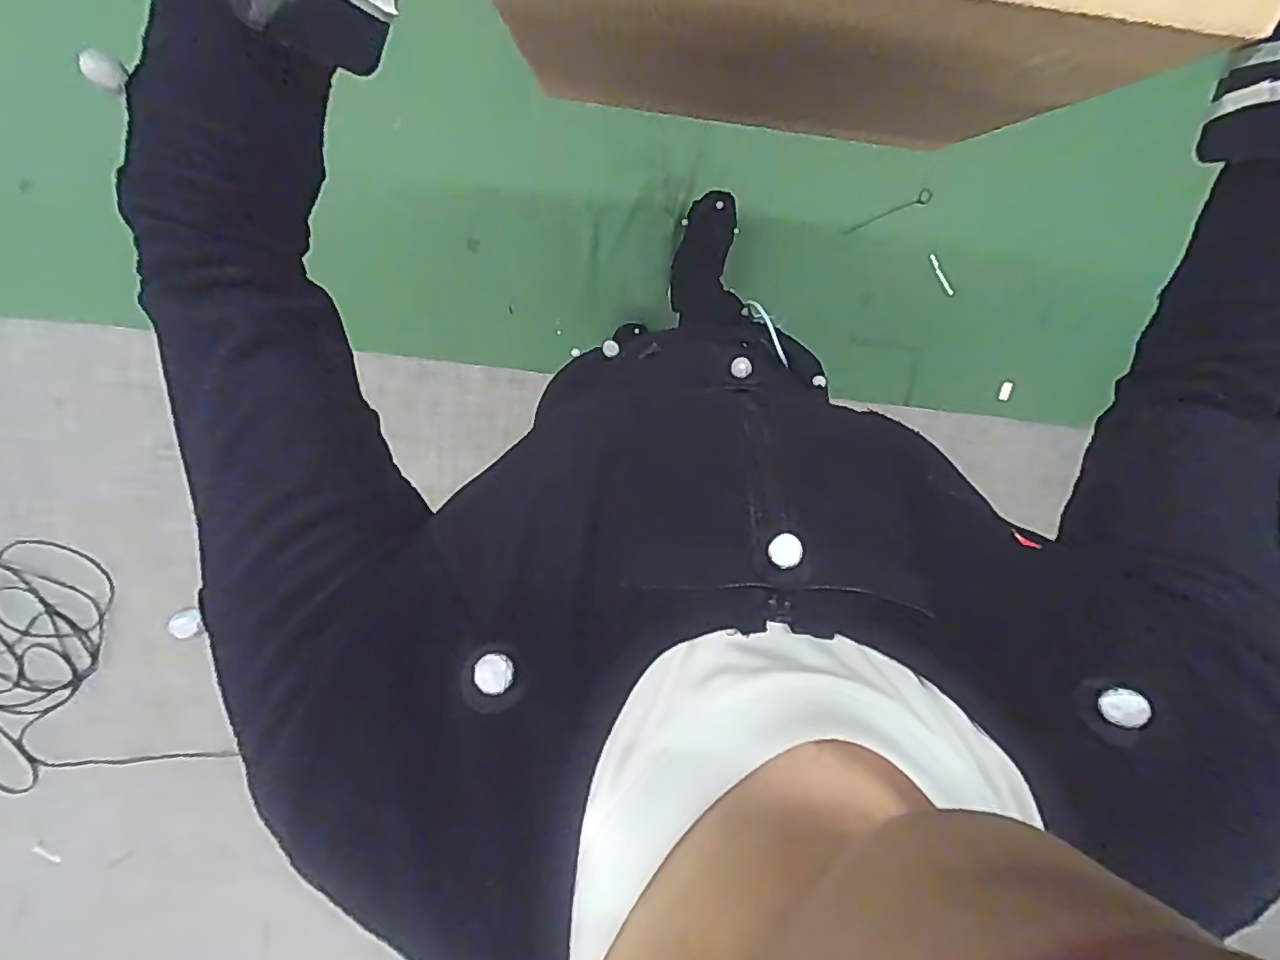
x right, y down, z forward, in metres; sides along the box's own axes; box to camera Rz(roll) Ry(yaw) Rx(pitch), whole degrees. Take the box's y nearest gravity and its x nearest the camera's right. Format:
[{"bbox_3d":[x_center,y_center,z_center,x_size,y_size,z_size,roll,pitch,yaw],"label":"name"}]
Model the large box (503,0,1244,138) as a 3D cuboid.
[{"bbox_3d":[0.120,-0.445,0.350,0.408,0.320,0.320,5,113,-3],"label":"large box"}]
